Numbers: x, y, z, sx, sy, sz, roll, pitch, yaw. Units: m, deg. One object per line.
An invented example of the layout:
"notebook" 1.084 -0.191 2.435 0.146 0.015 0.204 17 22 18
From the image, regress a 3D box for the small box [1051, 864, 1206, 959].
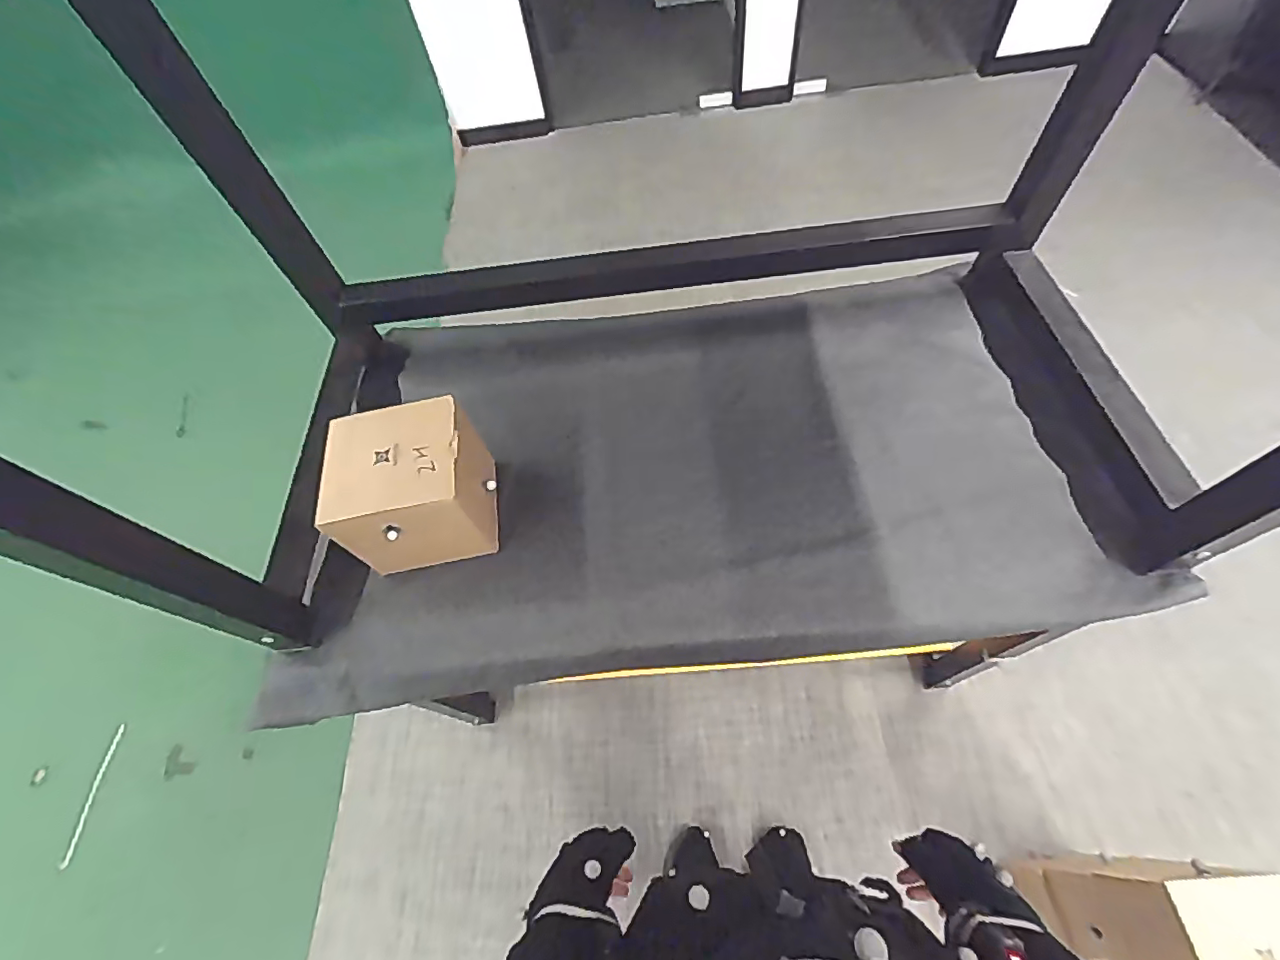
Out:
"small box" 0.815 0.732 0.860 0.168 0.176 0.179 -8 58 2

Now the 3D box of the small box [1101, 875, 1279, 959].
"small box" 0.784 0.644 0.726 0.168 0.176 0.179 -6 59 4

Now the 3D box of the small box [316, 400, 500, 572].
"small box" -0.310 0.016 0.760 0.179 0.176 0.168 -11 59 0
